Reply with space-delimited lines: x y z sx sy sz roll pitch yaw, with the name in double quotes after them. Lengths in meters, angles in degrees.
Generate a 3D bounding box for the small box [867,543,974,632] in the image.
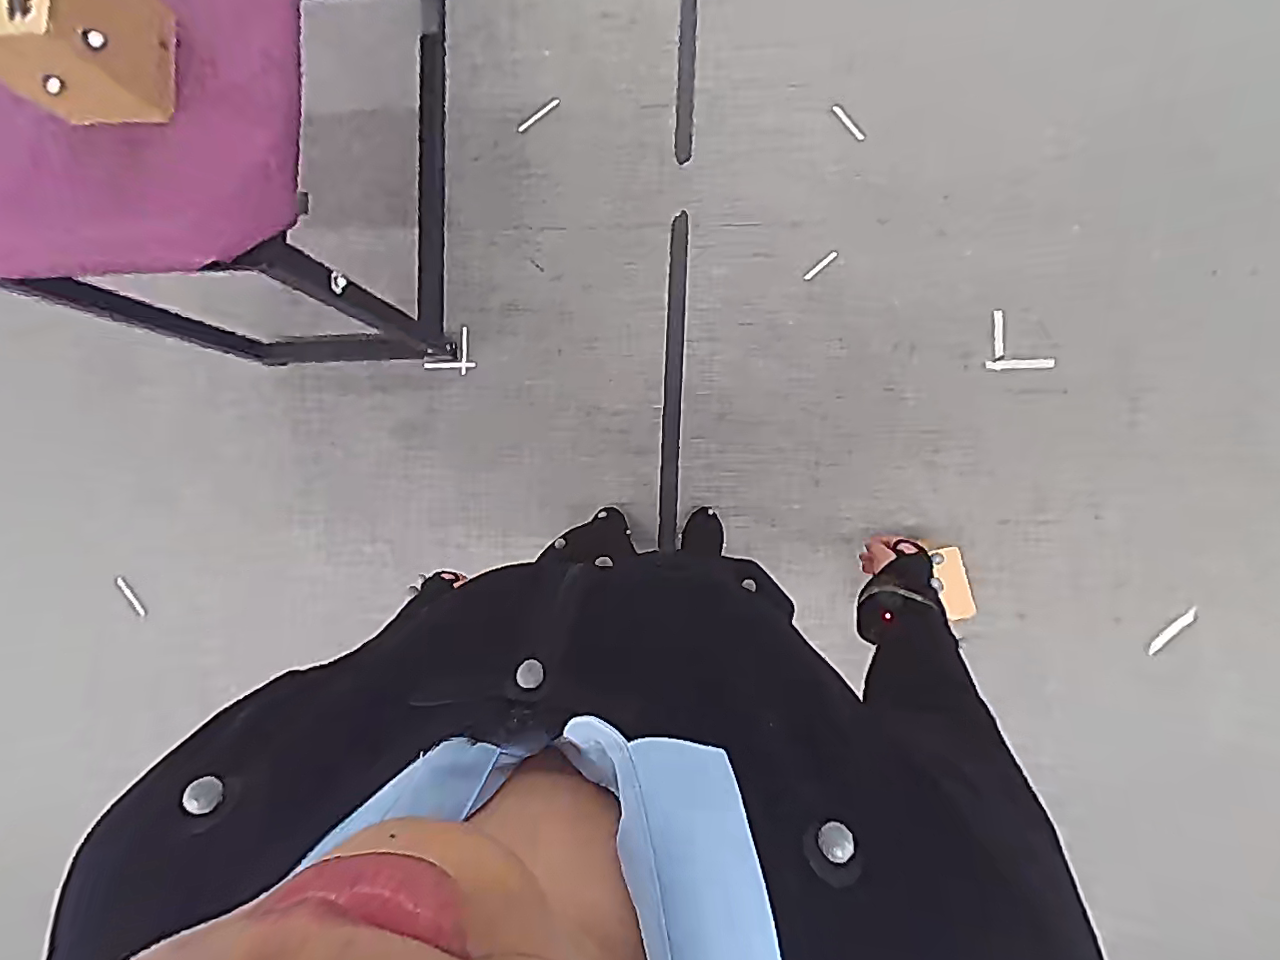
0.698 0.262 1.366 0.168 0.176 0.179 -14 89 4 "small box"
